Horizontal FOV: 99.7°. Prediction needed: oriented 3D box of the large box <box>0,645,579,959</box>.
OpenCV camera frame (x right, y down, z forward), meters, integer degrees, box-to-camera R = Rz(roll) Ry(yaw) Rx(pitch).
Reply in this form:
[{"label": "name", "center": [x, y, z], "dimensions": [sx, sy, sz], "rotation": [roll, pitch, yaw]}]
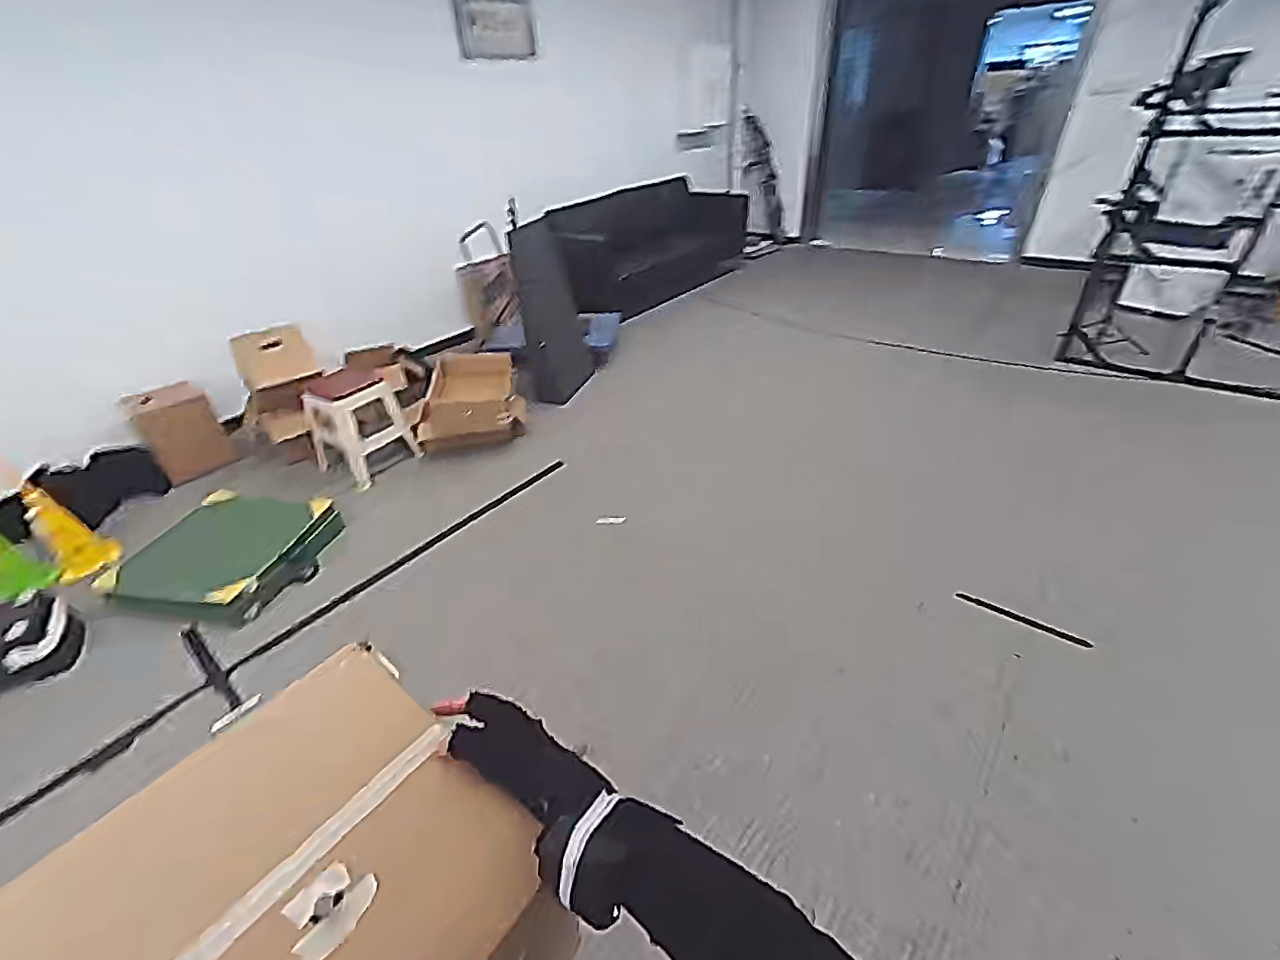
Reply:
[{"label": "large box", "center": [-0.301, 0.451, 0.489], "dimensions": [0.320, 0.320, 0.408], "rotation": [29, 45, 27]}]
